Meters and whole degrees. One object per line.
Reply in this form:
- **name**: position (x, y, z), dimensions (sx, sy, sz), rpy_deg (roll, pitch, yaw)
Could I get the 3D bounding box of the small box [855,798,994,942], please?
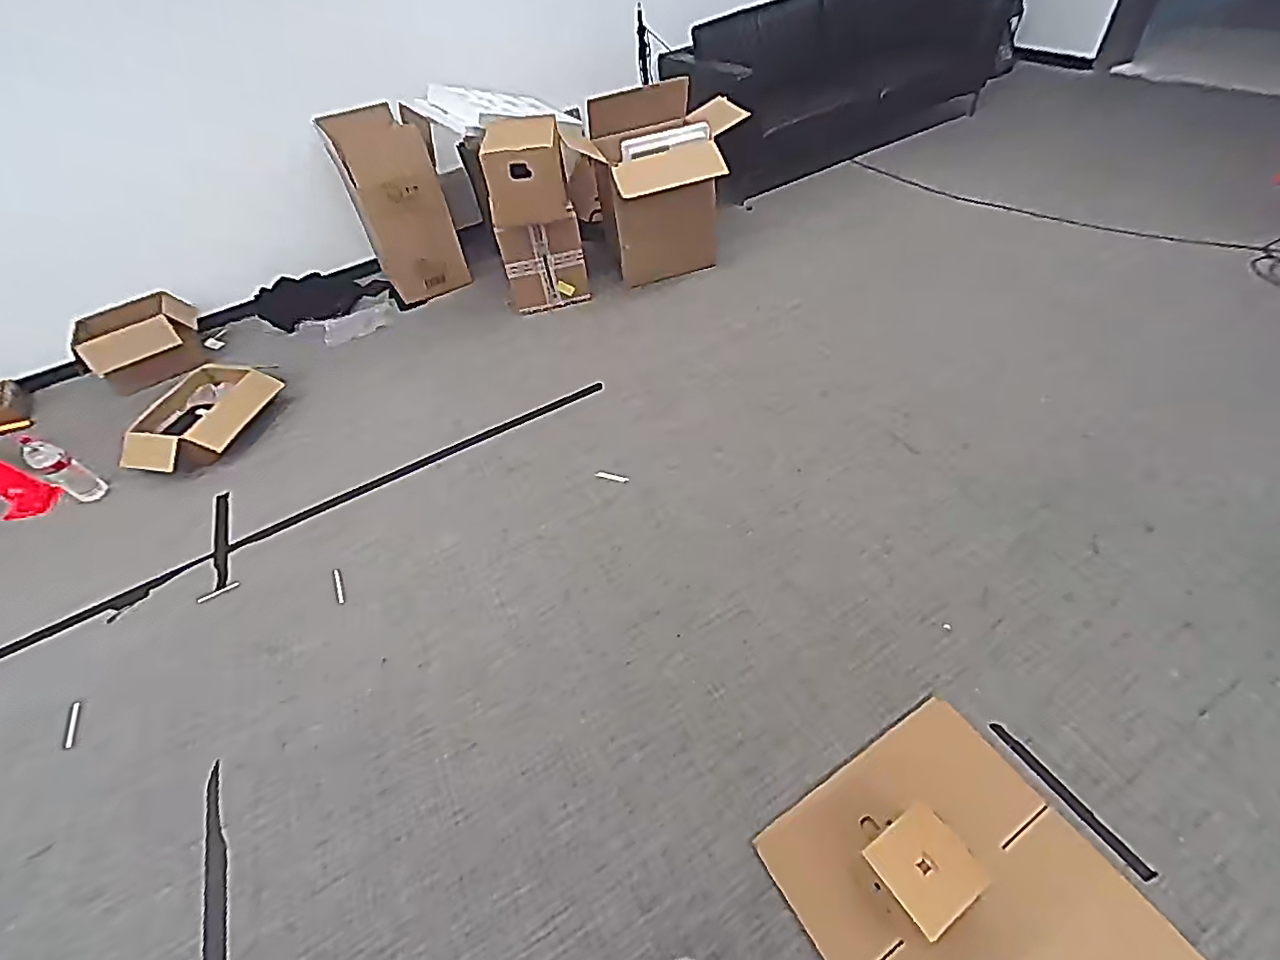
- **small box**: position (0.561, 0.792, 1.095), dimensions (0.179, 0.176, 0.168), rpy_deg (-30, 51, -16)
